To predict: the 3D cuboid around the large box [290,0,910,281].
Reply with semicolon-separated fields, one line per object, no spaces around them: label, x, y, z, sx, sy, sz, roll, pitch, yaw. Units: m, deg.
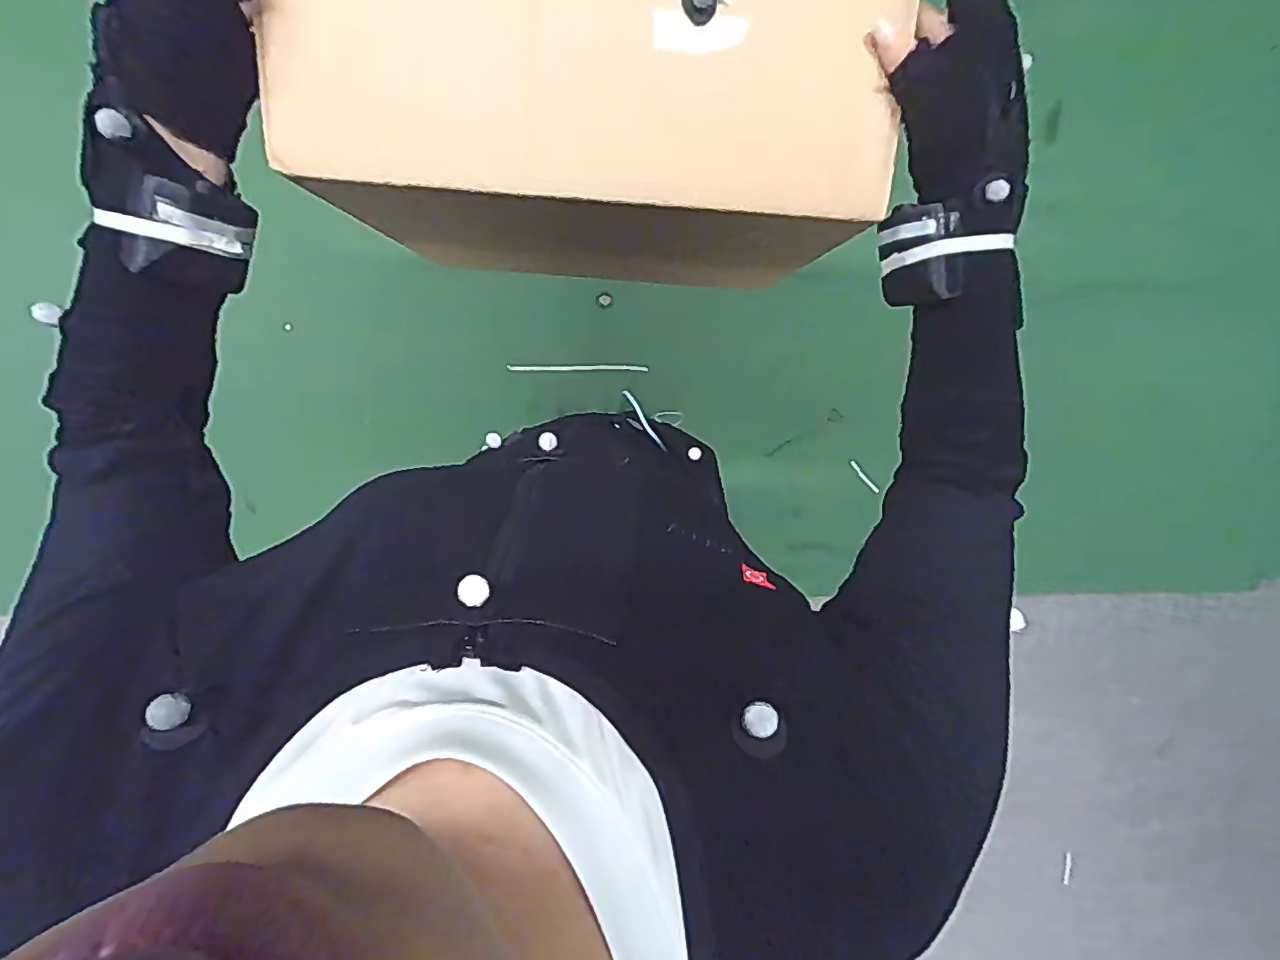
large box;-0.026;-0.374;0.485;0.408;0.320;0.320;3;102;-3
